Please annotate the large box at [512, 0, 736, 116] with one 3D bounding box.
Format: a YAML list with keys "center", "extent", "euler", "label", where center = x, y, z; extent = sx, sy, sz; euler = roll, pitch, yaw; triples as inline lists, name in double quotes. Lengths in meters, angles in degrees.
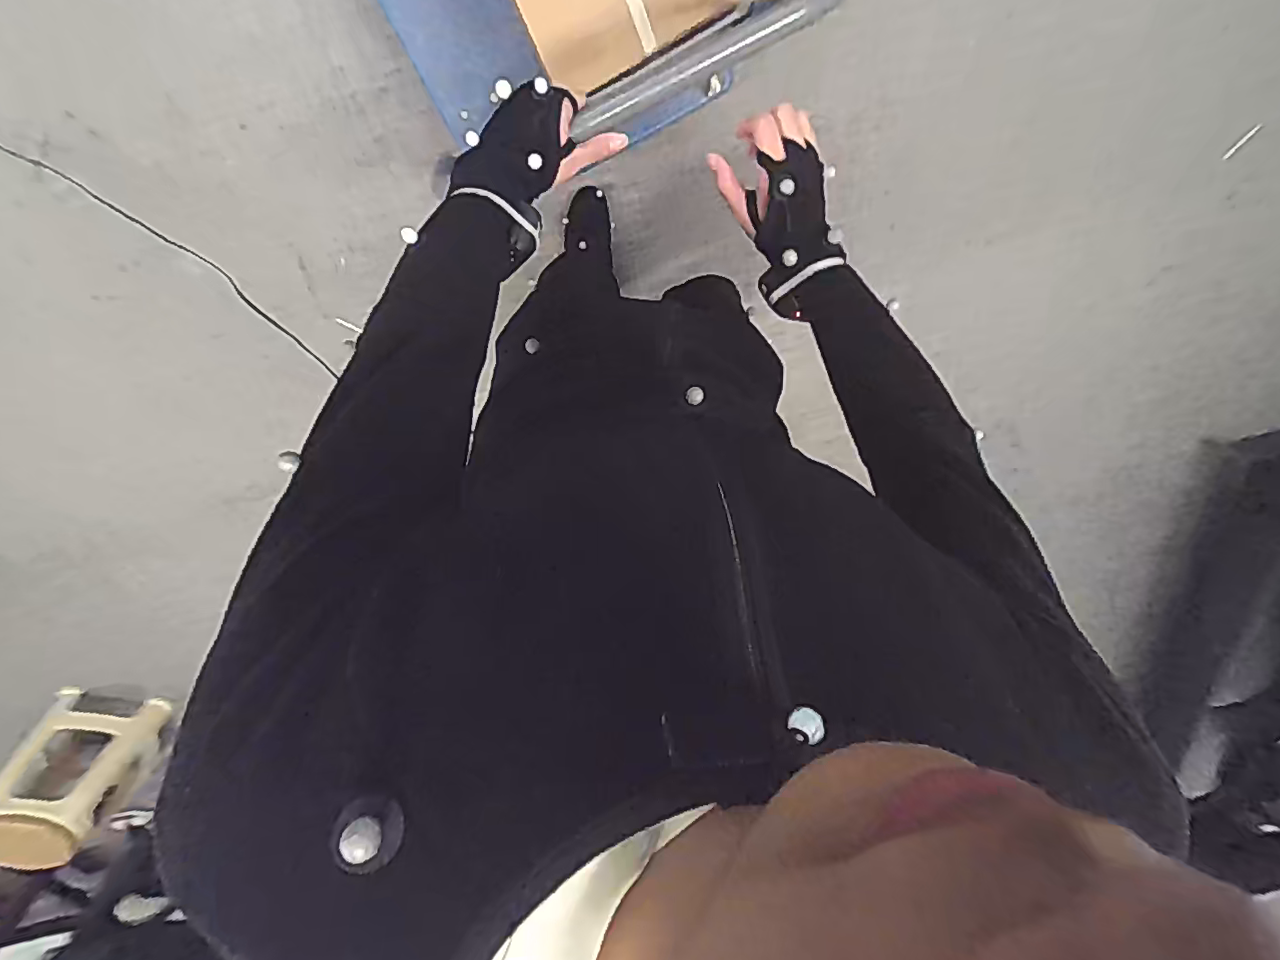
- center: [-0.085, -0.880, 0.863]
  extent: [0.320, 0.320, 0.408]
  euler: [-25, 120, 7]
  label: "large box"
